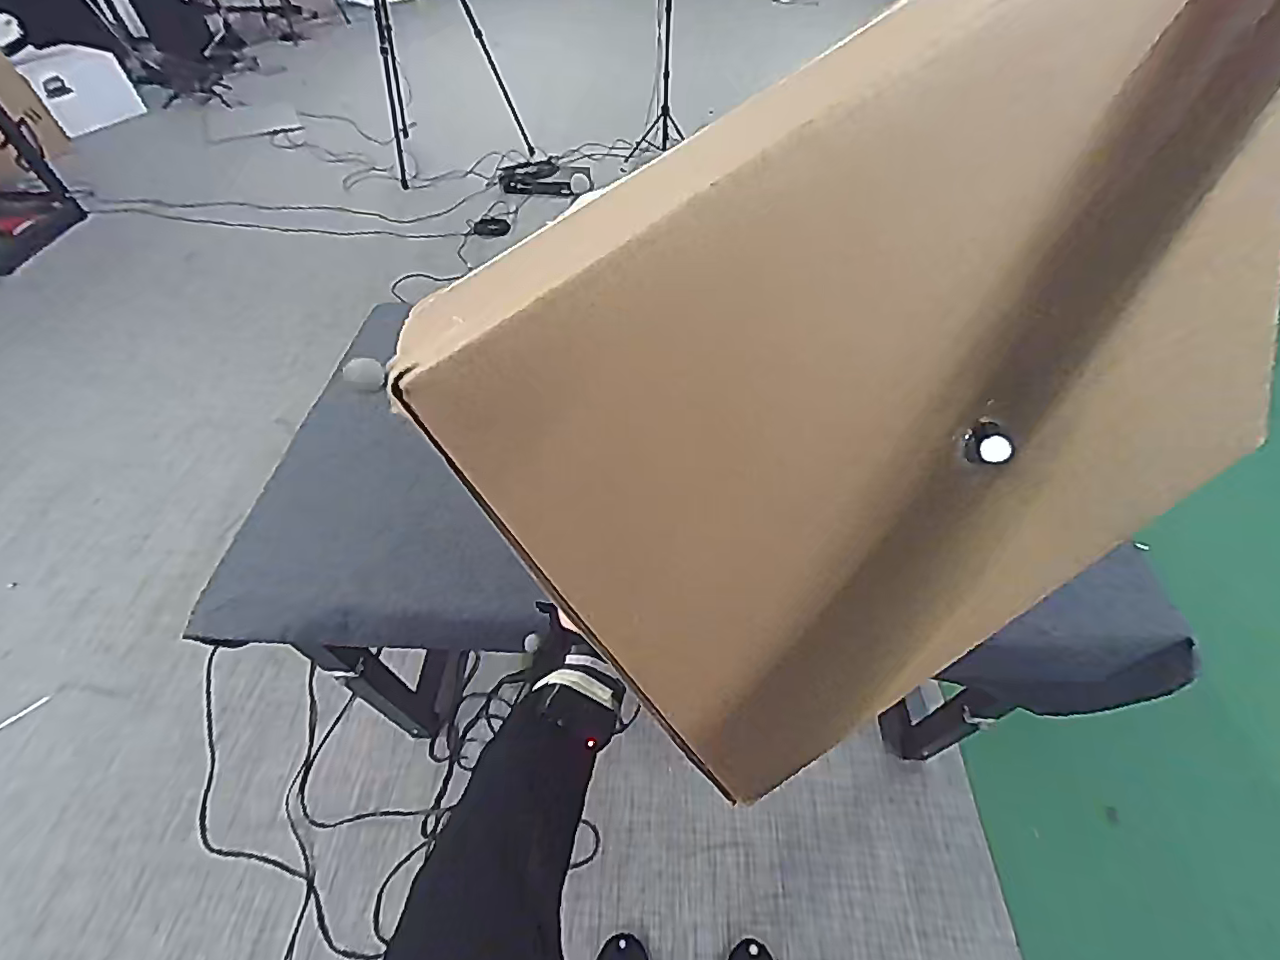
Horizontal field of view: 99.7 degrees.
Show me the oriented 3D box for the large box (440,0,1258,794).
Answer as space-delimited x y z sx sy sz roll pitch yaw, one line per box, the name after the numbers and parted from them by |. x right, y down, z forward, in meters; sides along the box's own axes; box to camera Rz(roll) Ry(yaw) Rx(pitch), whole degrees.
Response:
0.118 -0.075 0.405 0.408 0.320 0.320 -35 29 -3 | large box
